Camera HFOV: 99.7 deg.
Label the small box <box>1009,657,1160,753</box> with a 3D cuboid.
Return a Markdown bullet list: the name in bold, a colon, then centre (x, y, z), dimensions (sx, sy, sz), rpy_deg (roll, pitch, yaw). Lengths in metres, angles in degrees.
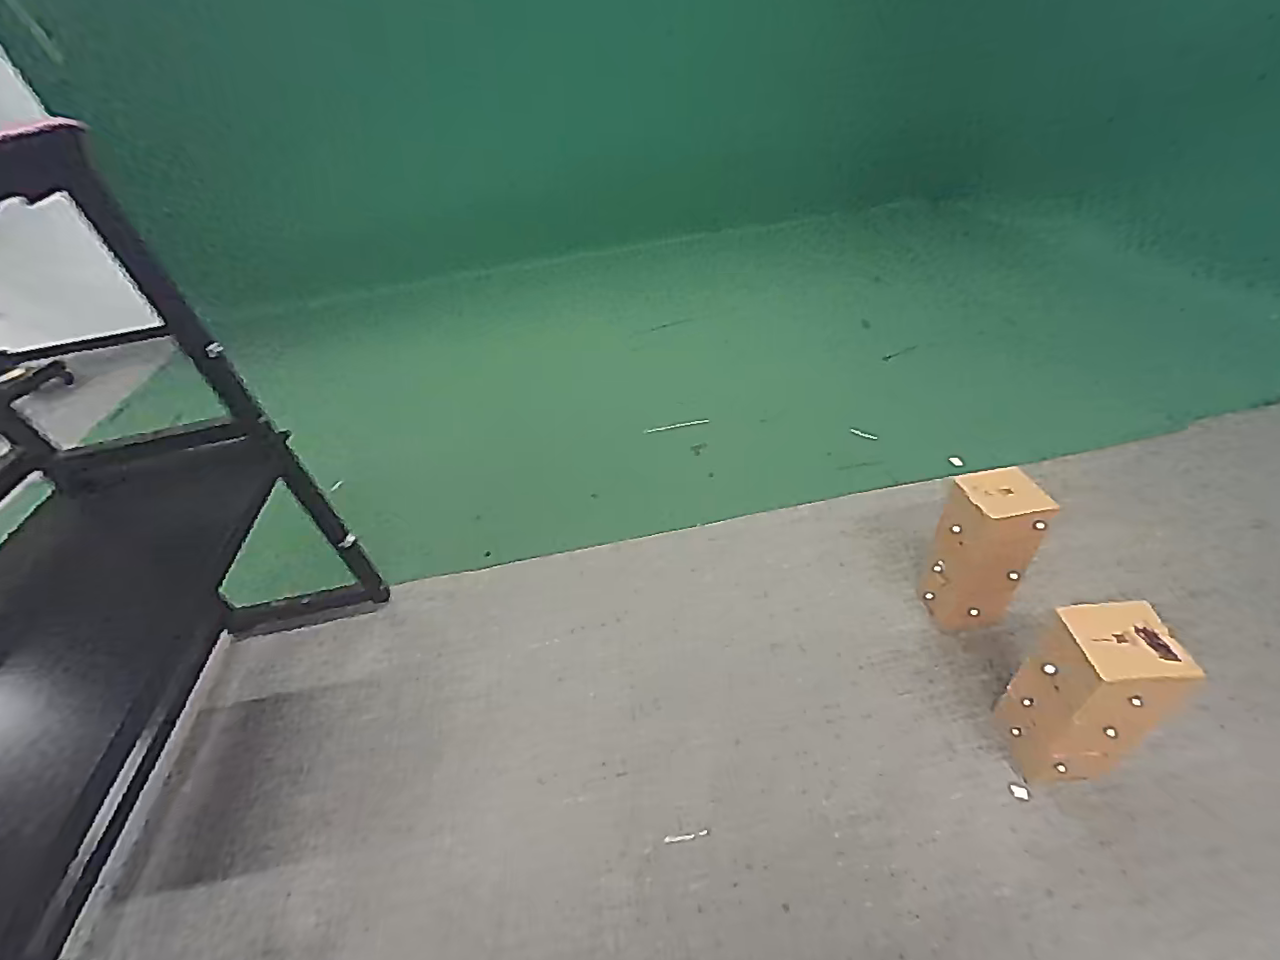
- **small box**: centre (0.976, 0.493, 1.209), dimensions (0.179, 0.176, 0.168), rpy_deg (-6, 42, 5)

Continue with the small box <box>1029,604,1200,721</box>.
- **small box**: centre (0.946, 0.373, 1.101), dimensions (0.179, 0.176, 0.168), rpy_deg (-6, 42, 7)

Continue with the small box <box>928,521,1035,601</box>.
- **small box**: centre (0.949, 0.215, 1.522), dimensions (0.179, 0.176, 0.168), rpy_deg (-11, 41, 0)

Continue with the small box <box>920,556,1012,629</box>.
- **small box**: centre (0.970, 0.333, 1.632), dimensions (0.179, 0.176, 0.168), rpy_deg (-9, 42, 2)

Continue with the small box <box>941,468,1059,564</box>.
- **small box**: centre (0.925, 0.095, 1.410), dimensions (0.179, 0.176, 0.168), rpy_deg (-10, 40, -1)
